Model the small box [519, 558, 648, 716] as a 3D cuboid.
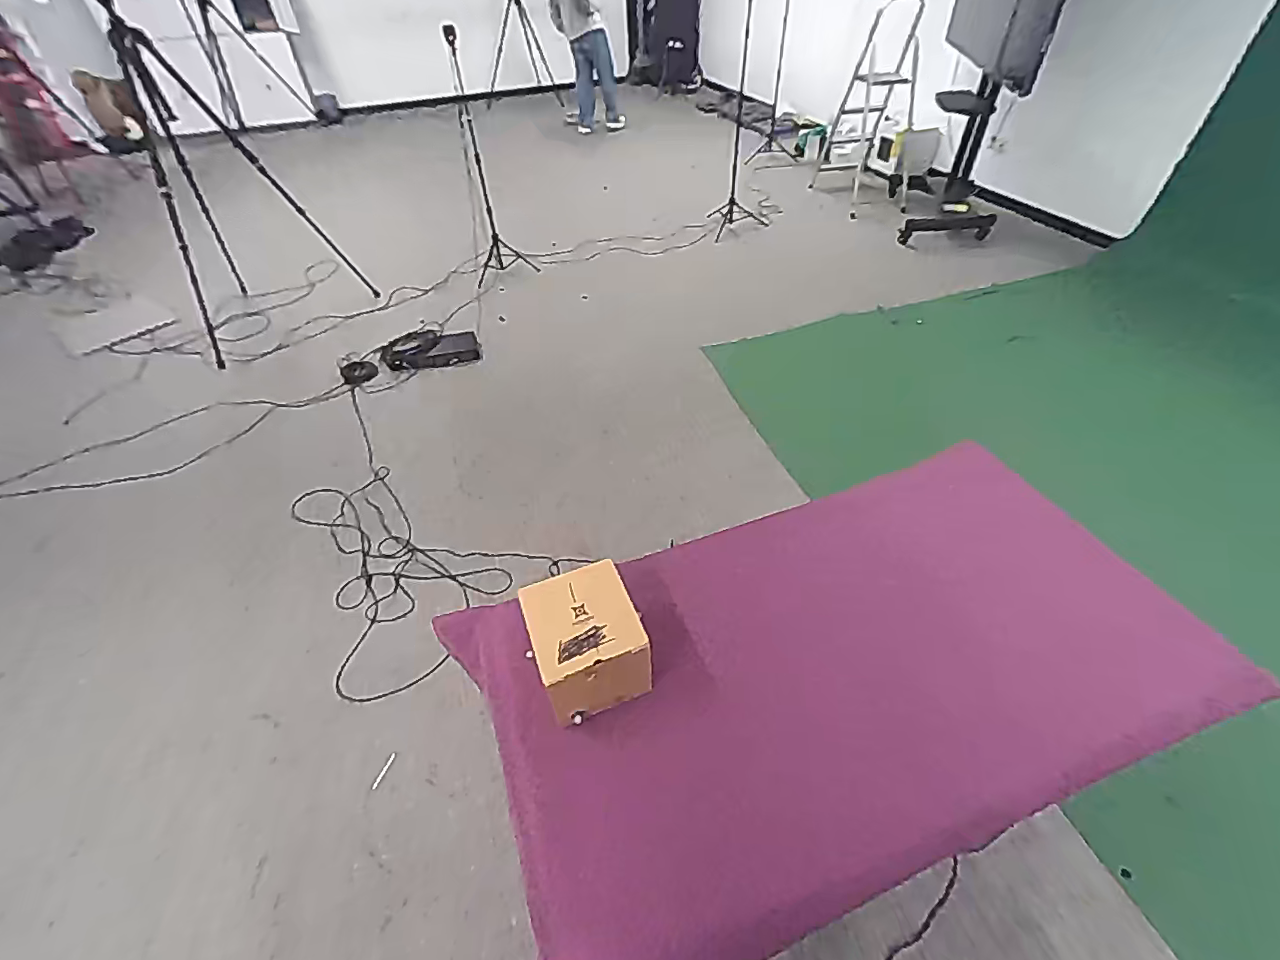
[{"bbox_3d":[-0.090,0.267,0.900,0.168,0.176,0.179,-17,47,-14],"label":"small box"}]
